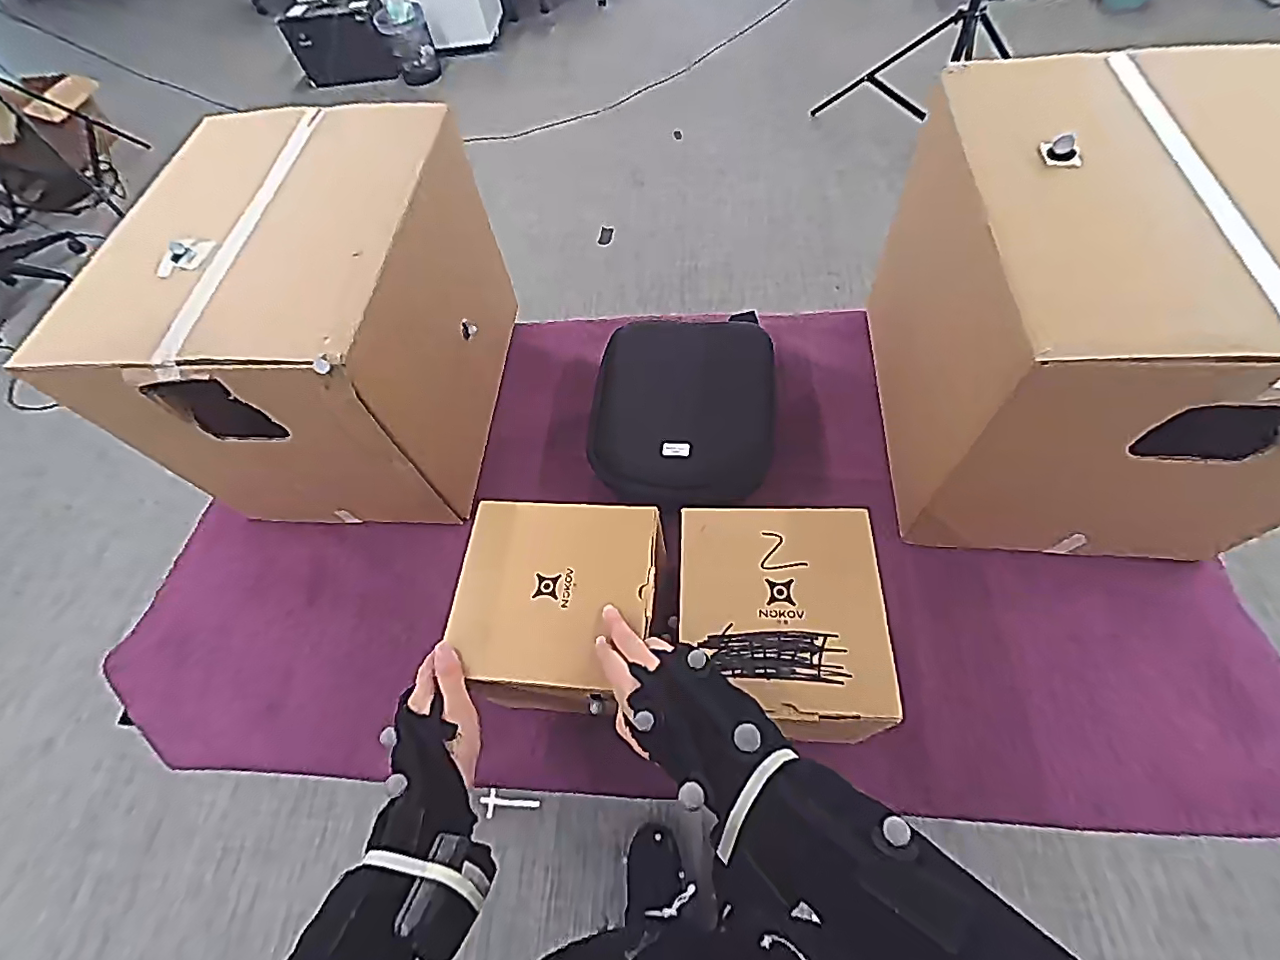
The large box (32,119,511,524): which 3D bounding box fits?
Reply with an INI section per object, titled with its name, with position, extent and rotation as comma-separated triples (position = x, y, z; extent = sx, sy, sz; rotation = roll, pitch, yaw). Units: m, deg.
[large box]
position = -0.375, -0.185, 0.691
extent = 0.320, 0.320, 0.408
rotation = -1, 62, 5
